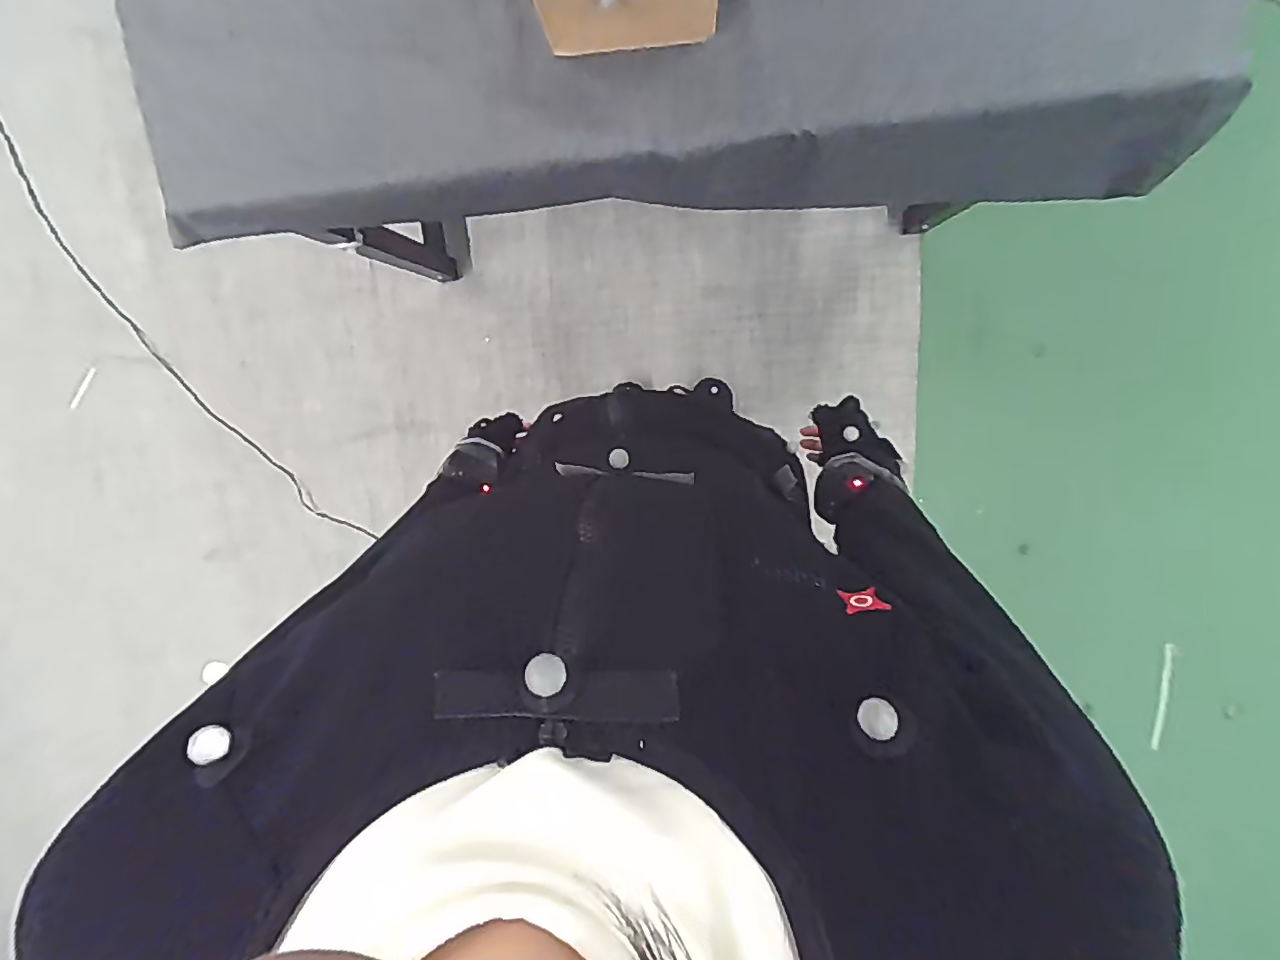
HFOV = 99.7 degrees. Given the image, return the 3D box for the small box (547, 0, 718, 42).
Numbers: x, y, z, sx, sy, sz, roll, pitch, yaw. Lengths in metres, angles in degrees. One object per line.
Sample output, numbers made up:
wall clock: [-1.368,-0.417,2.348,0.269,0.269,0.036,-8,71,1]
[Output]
small box: [-0.016,-0.546,0.496,0.179,0.176,0.168,-5,101,5]
